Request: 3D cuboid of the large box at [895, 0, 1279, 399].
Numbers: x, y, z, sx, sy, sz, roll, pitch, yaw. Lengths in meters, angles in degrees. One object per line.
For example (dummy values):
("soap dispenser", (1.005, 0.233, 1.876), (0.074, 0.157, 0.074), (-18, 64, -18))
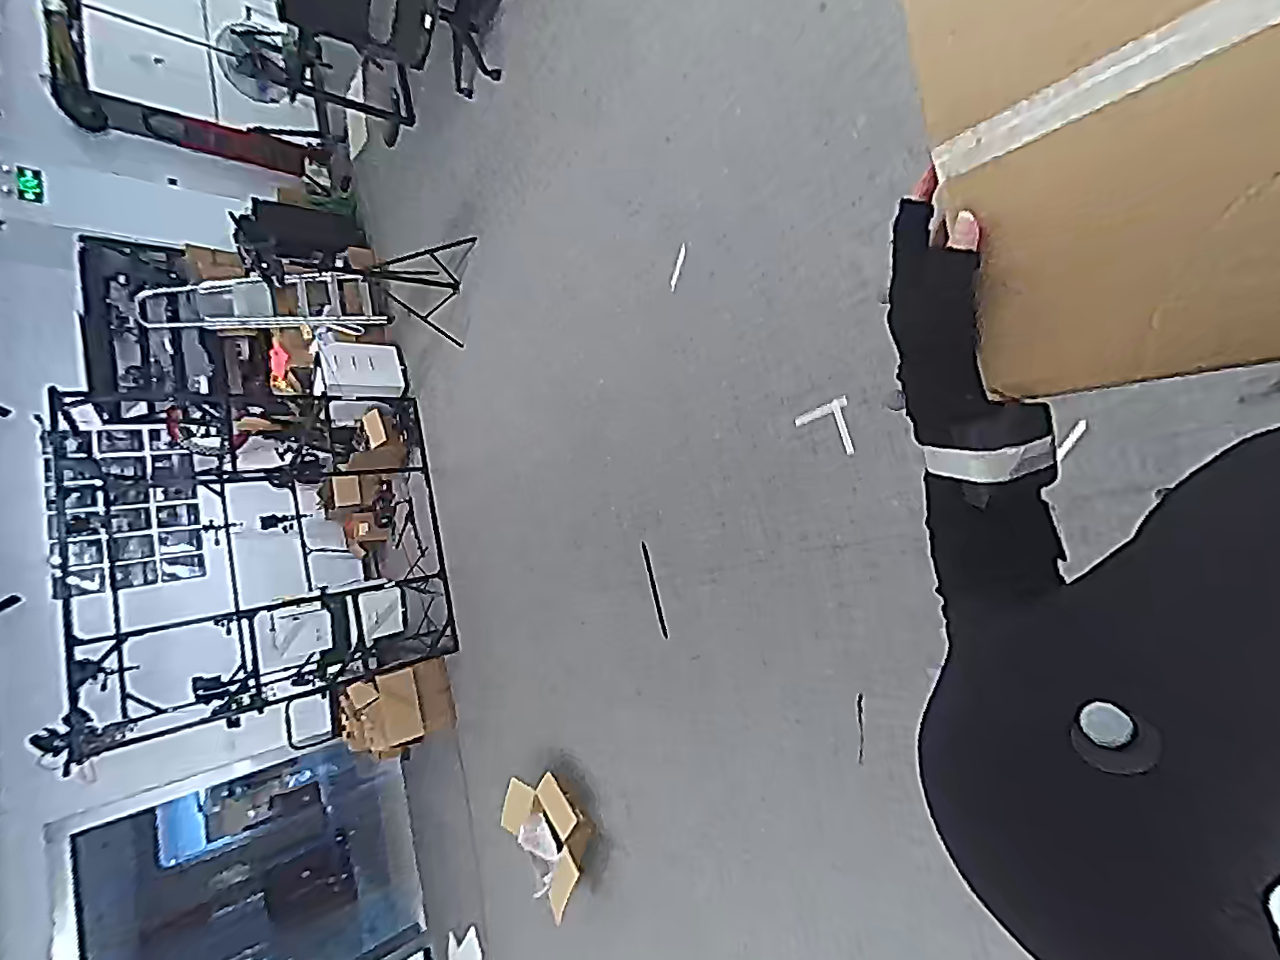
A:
("large box", (0.422, -0.264, 0.278), (0.408, 0.320, 0.320), (-7, 103, 54))
